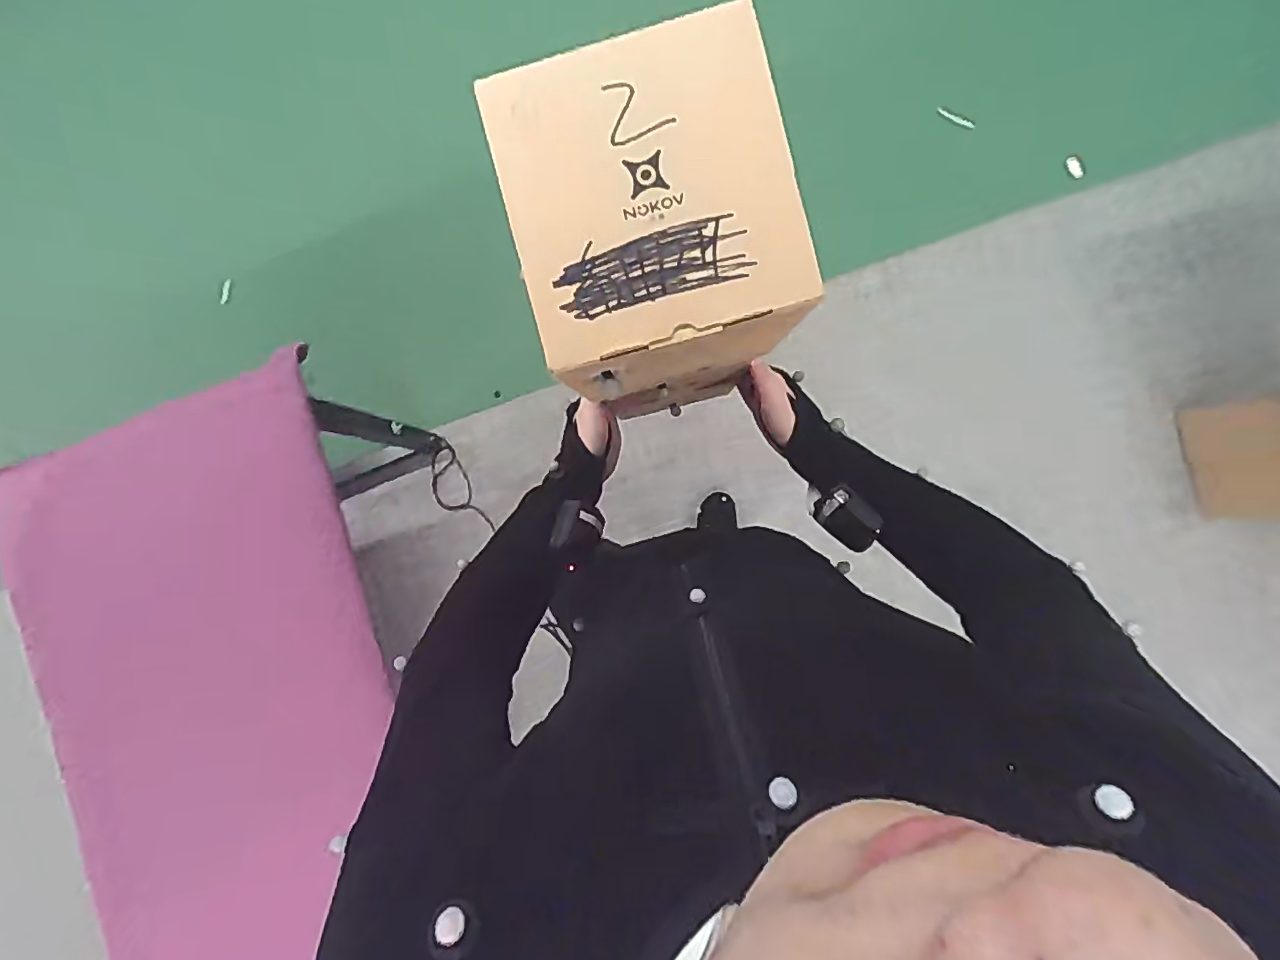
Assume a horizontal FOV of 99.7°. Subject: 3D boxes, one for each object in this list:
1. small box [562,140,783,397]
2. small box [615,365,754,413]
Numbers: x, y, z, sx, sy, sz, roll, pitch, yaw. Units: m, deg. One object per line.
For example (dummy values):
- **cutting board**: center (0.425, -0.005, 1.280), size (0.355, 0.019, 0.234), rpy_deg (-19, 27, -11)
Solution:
- **small box**: center (0.030, -0.192, 0.543), size (0.168, 0.176, 0.179), rpy_deg (-12, 93, 3)
- **small box**: center (0.039, -0.194, 0.705), size (0.168, 0.176, 0.179), rpy_deg (-13, 92, 4)
